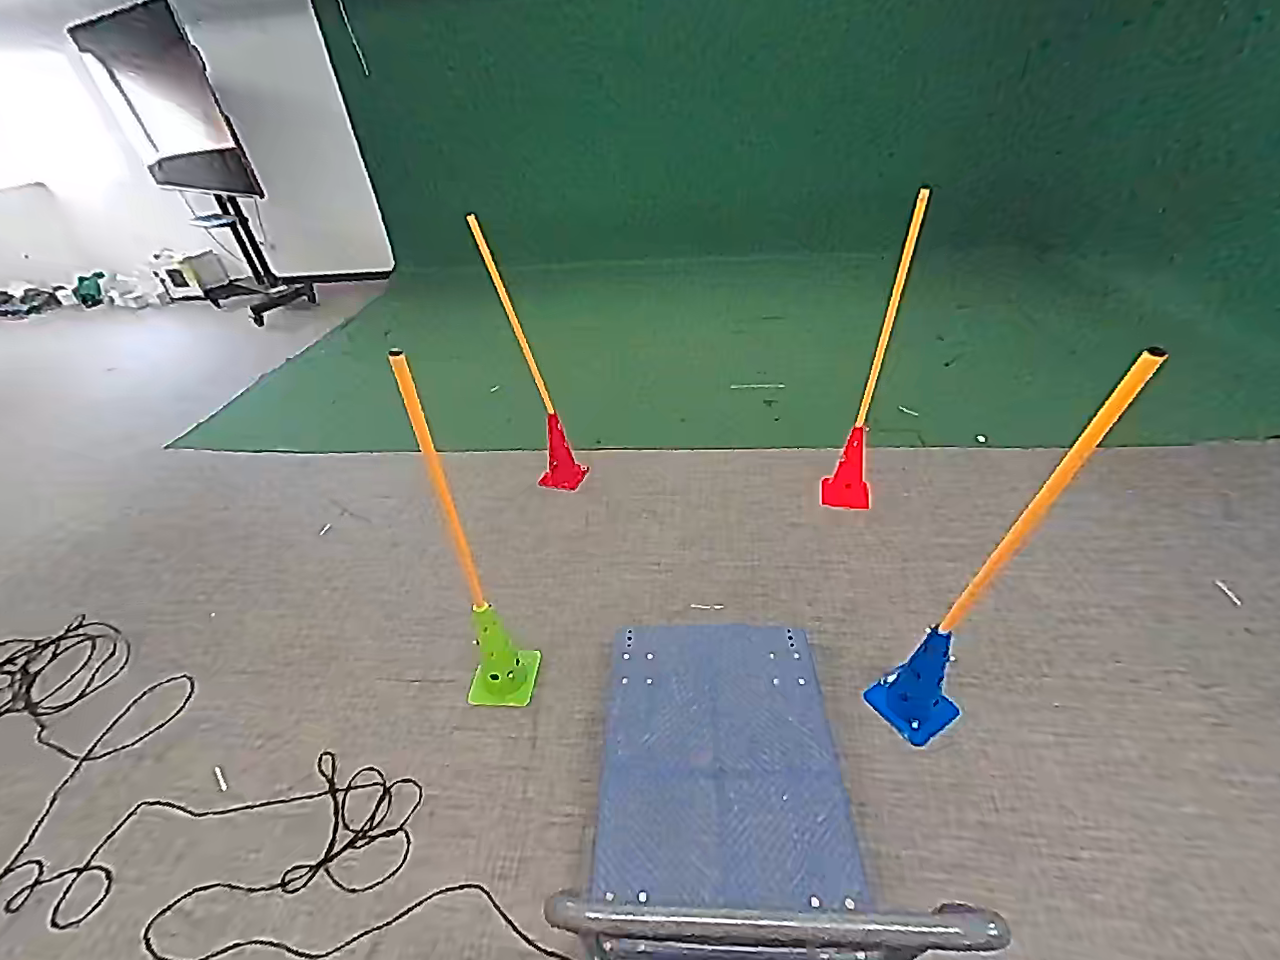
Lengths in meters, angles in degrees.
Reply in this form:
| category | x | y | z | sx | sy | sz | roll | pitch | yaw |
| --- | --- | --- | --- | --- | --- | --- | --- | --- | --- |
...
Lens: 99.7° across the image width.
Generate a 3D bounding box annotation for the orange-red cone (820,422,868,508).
| category | x | y | z | sx | sy | sz | roll | pitch | yaw |
| --- | --- | --- | --- | --- | --- | --- | --- | --- | --- |
| orange-red cone | 0.881 | -0.084 | 2.268 | 0.198 | 0.360 | 0.199 | 7 | 40 | 16 |
